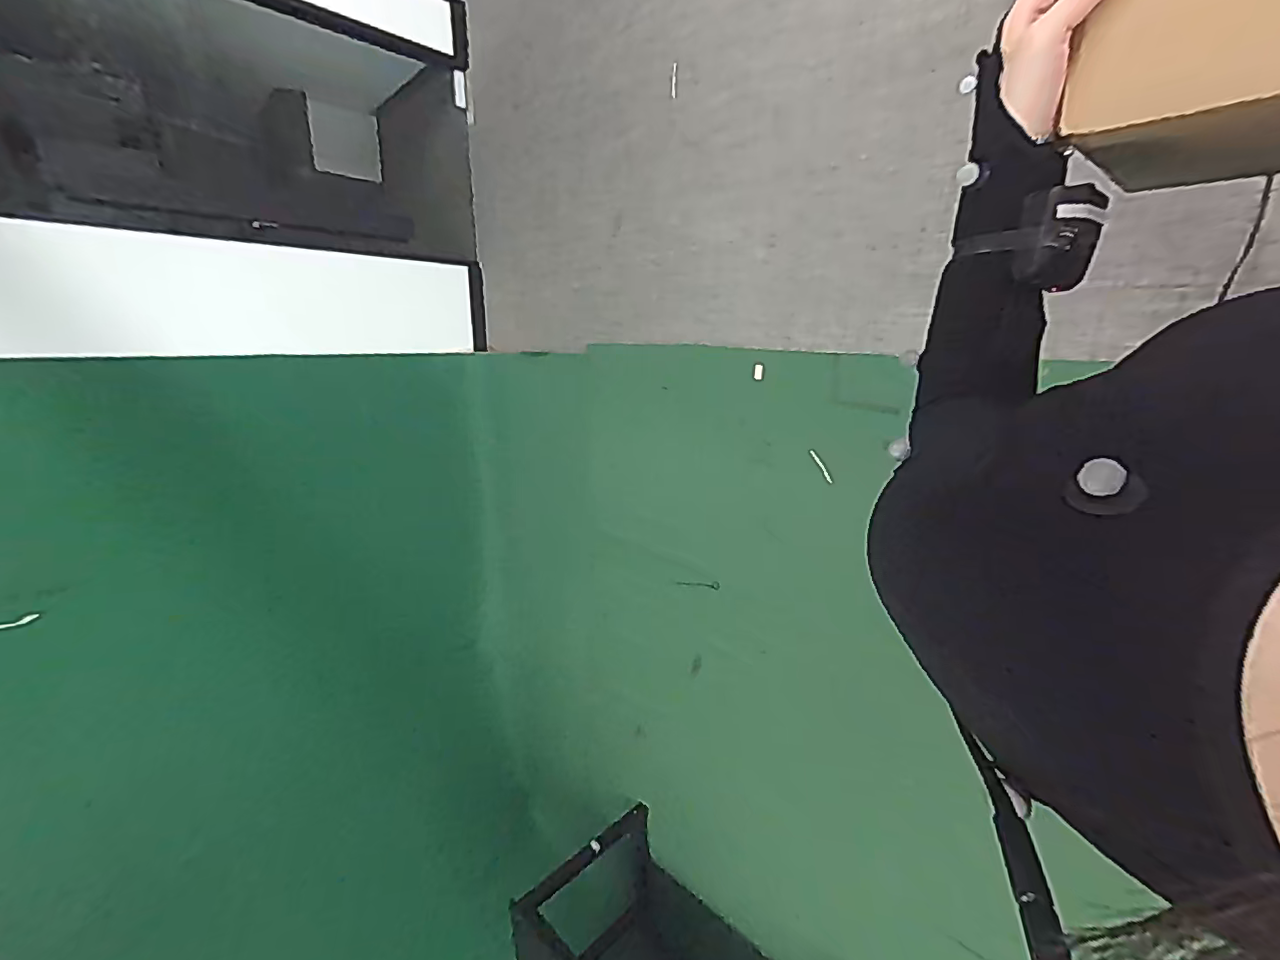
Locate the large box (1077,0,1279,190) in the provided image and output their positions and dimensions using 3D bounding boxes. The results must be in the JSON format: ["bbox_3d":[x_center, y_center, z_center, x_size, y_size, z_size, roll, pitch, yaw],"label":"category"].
[{"bbox_3d":[0.539,-0.390,0.300,0.408,0.320,0.320,14,113,44],"label":"large box"}]
